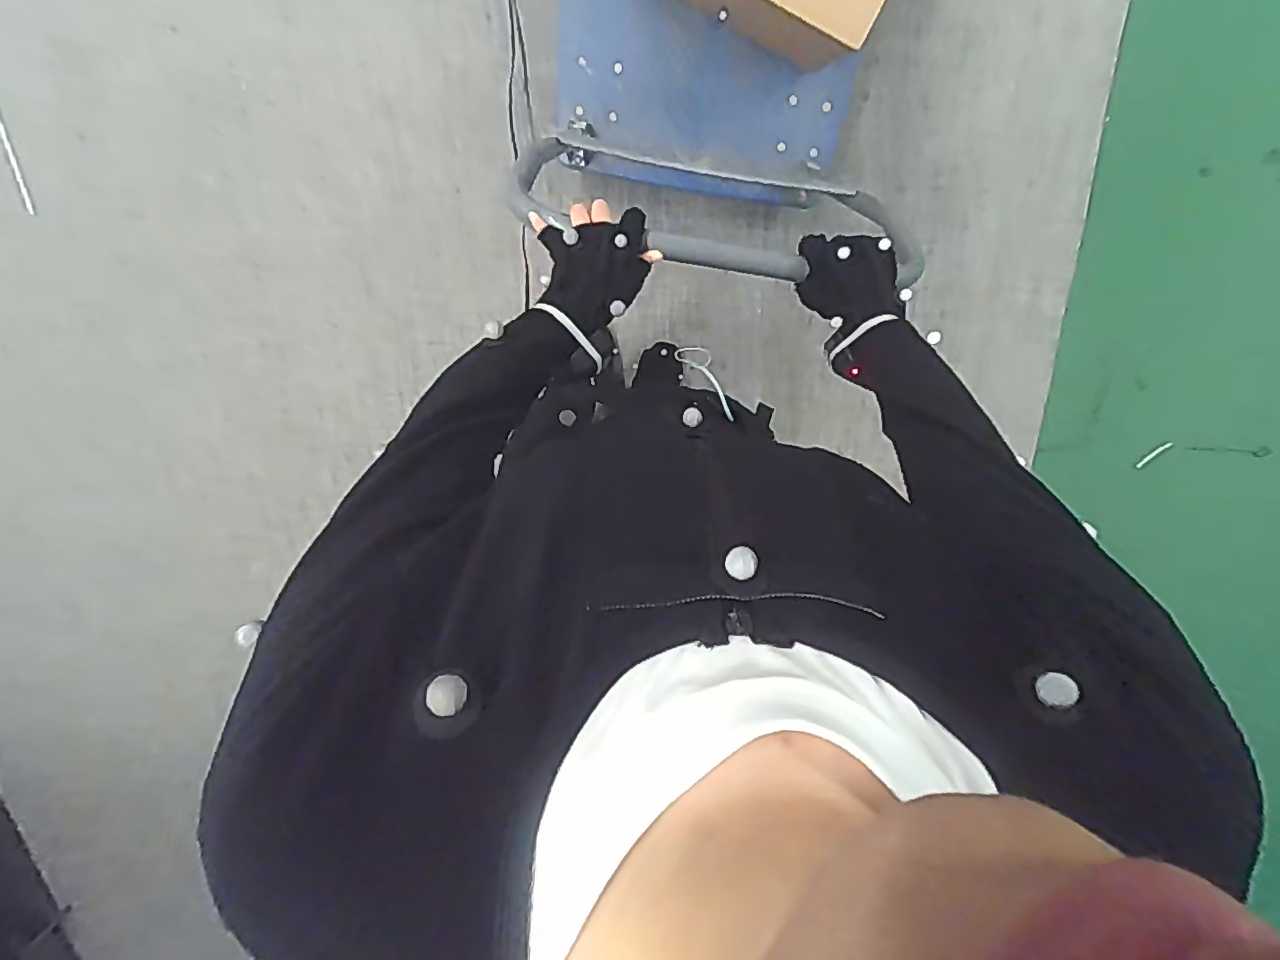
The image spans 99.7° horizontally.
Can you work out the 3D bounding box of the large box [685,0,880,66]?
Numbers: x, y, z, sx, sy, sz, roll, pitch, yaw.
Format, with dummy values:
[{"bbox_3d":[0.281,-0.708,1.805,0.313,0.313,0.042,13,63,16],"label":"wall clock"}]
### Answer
[{"bbox_3d":[0.201,-0.899,0.814,0.408,0.320,0.320,21,121,-10],"label":"large box"}]
